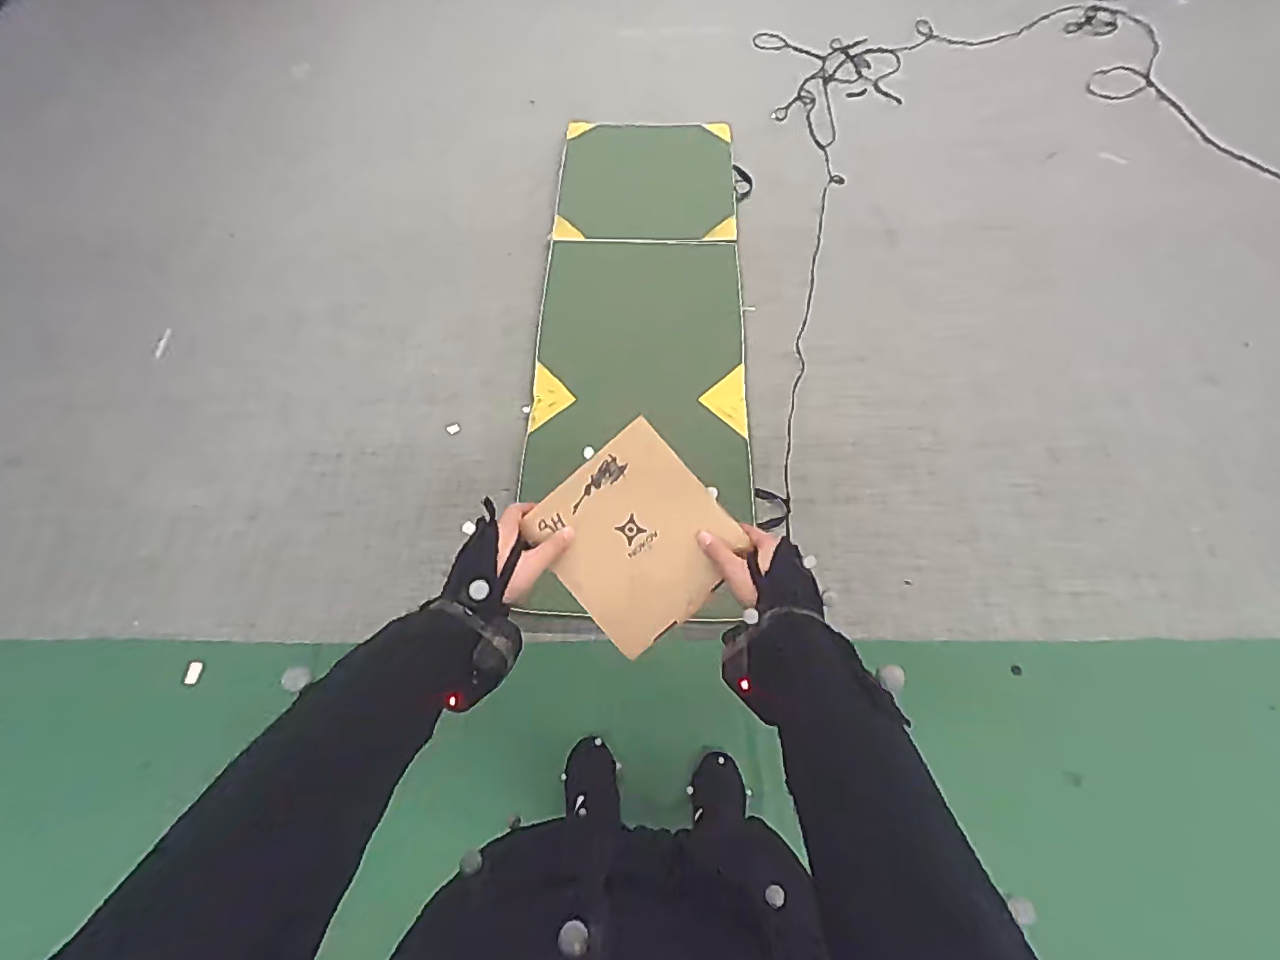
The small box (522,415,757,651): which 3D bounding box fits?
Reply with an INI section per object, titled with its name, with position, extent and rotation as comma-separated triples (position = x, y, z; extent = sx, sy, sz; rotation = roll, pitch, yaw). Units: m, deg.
[small box]
position = 0.003, 0.055, 0.605
extent = 0.168, 0.176, 0.179
rotation = -40, 85, -1
